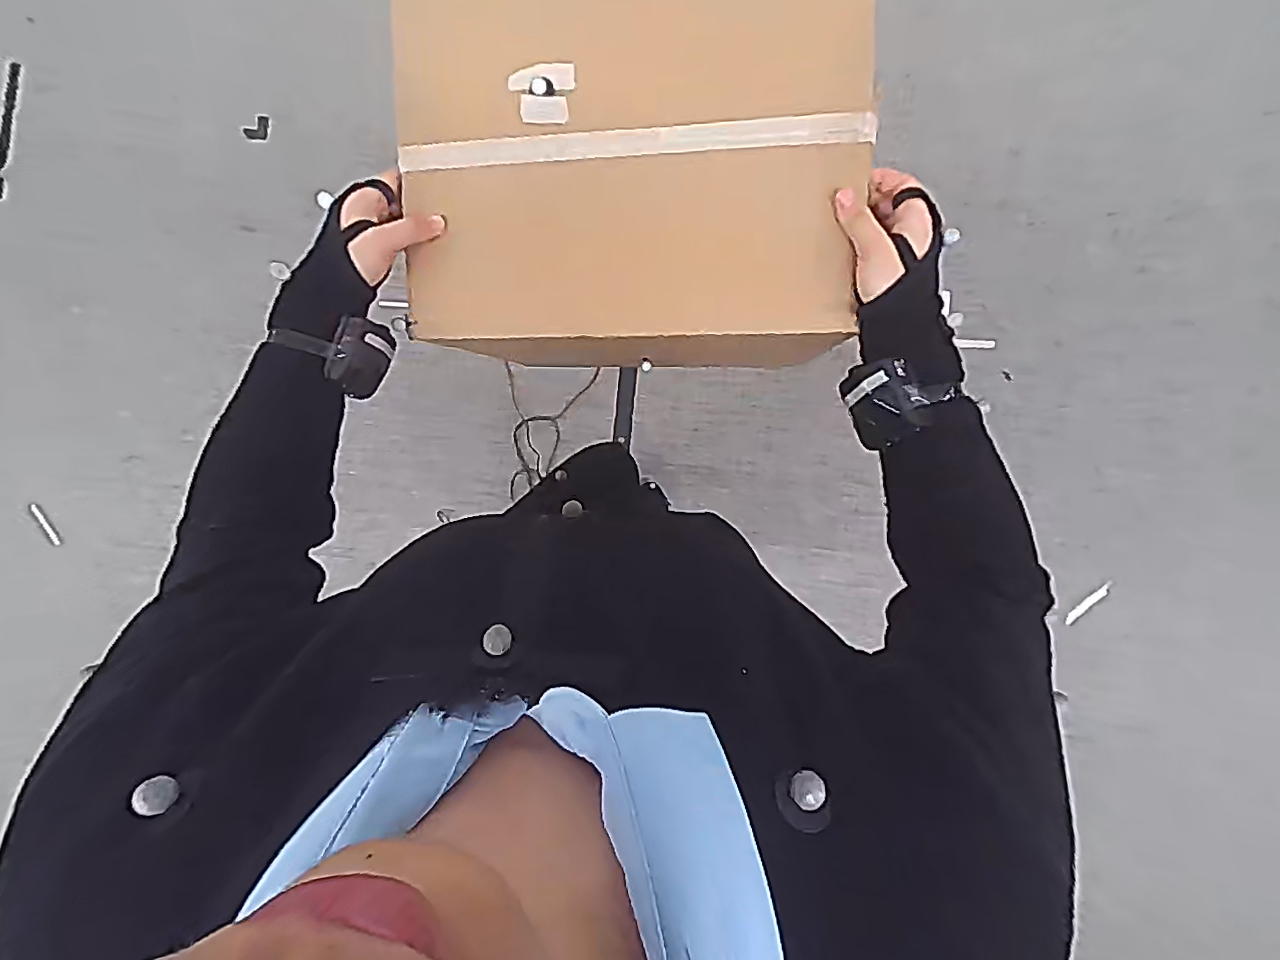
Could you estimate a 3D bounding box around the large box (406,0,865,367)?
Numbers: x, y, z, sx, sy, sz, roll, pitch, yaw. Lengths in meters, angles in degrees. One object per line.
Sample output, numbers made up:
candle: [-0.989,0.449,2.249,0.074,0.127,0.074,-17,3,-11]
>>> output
large box: [0.011,-0.301,0.617,0.408,0.320,0.320,1,96,9]
